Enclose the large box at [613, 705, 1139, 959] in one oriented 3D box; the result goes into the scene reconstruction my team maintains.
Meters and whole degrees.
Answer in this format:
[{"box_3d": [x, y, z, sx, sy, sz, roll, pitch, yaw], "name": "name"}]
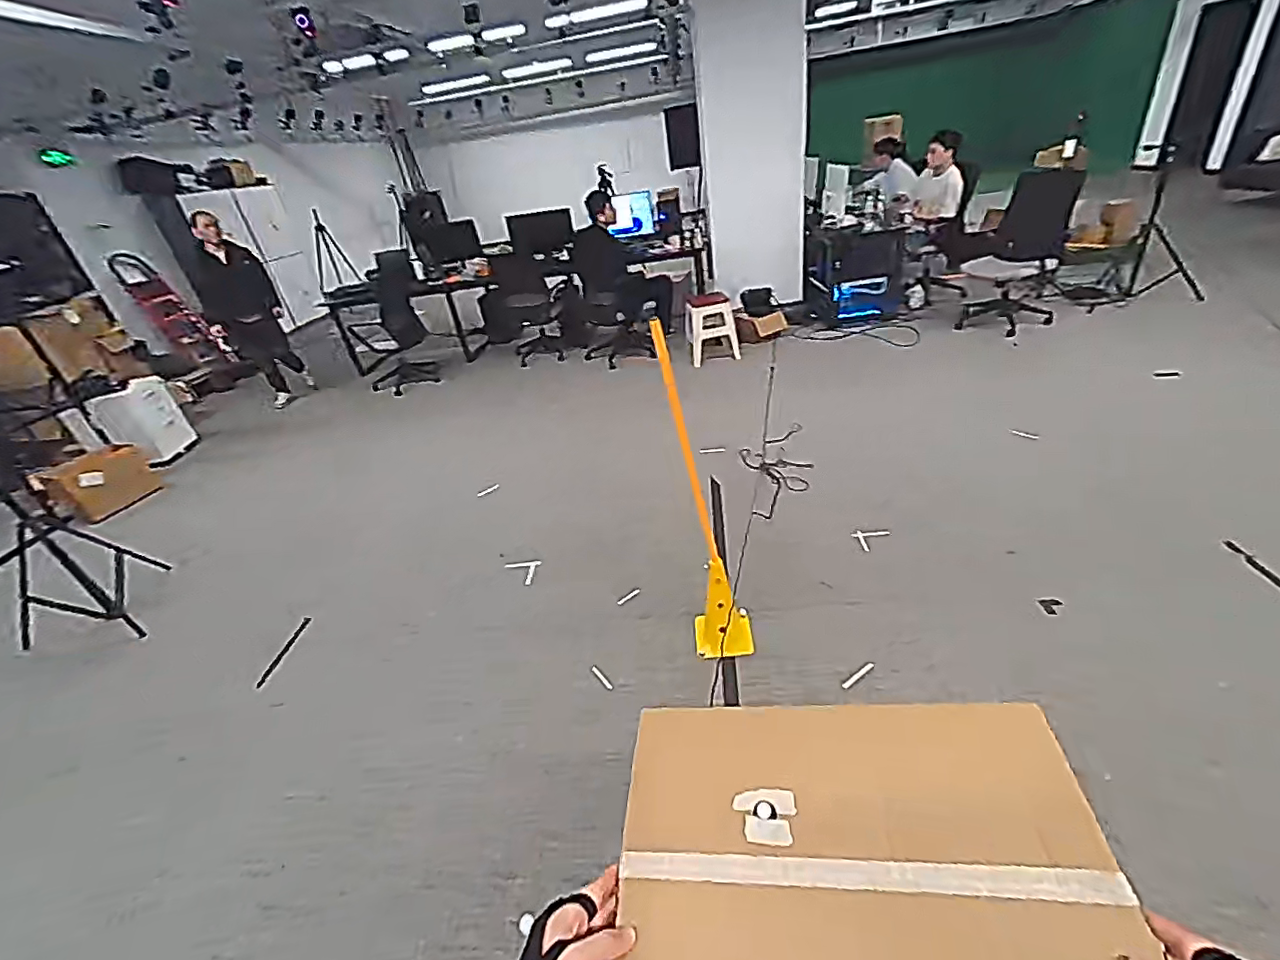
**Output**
[{"box_3d": [0.212, 0.464, 0.551, 0.408, 0.320, 0.320, -8, 34, 13], "name": "large box"}]
